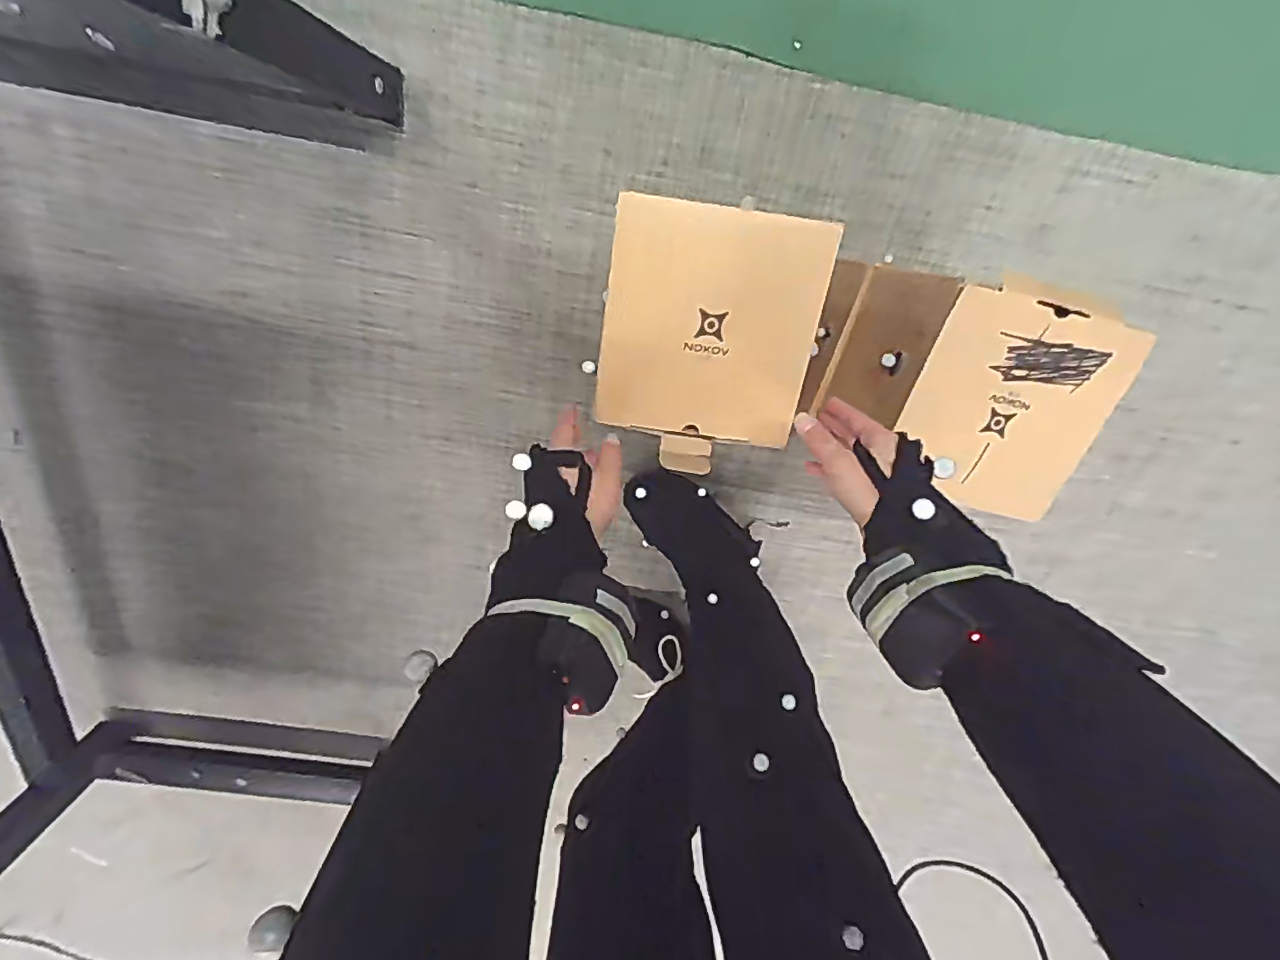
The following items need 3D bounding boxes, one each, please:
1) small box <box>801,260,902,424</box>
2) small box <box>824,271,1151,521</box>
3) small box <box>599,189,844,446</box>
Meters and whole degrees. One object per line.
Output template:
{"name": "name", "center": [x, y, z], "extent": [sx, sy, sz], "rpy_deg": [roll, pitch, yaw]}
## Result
{"name": "small box", "center": [0.294, -0.161, 0.666], "extent": [0.168, 0.176, 0.179], "rpy_deg": [13, 115, -5]}
{"name": "small box", "center": [0.299, -0.091, 0.517], "extent": [0.168, 0.176, 0.179], "rpy_deg": [14, 114, -4]}
{"name": "small box", "center": [0.056, -0.148, 0.492], "extent": [0.168, 0.176, 0.179], "rpy_deg": [7, 114, -3]}
